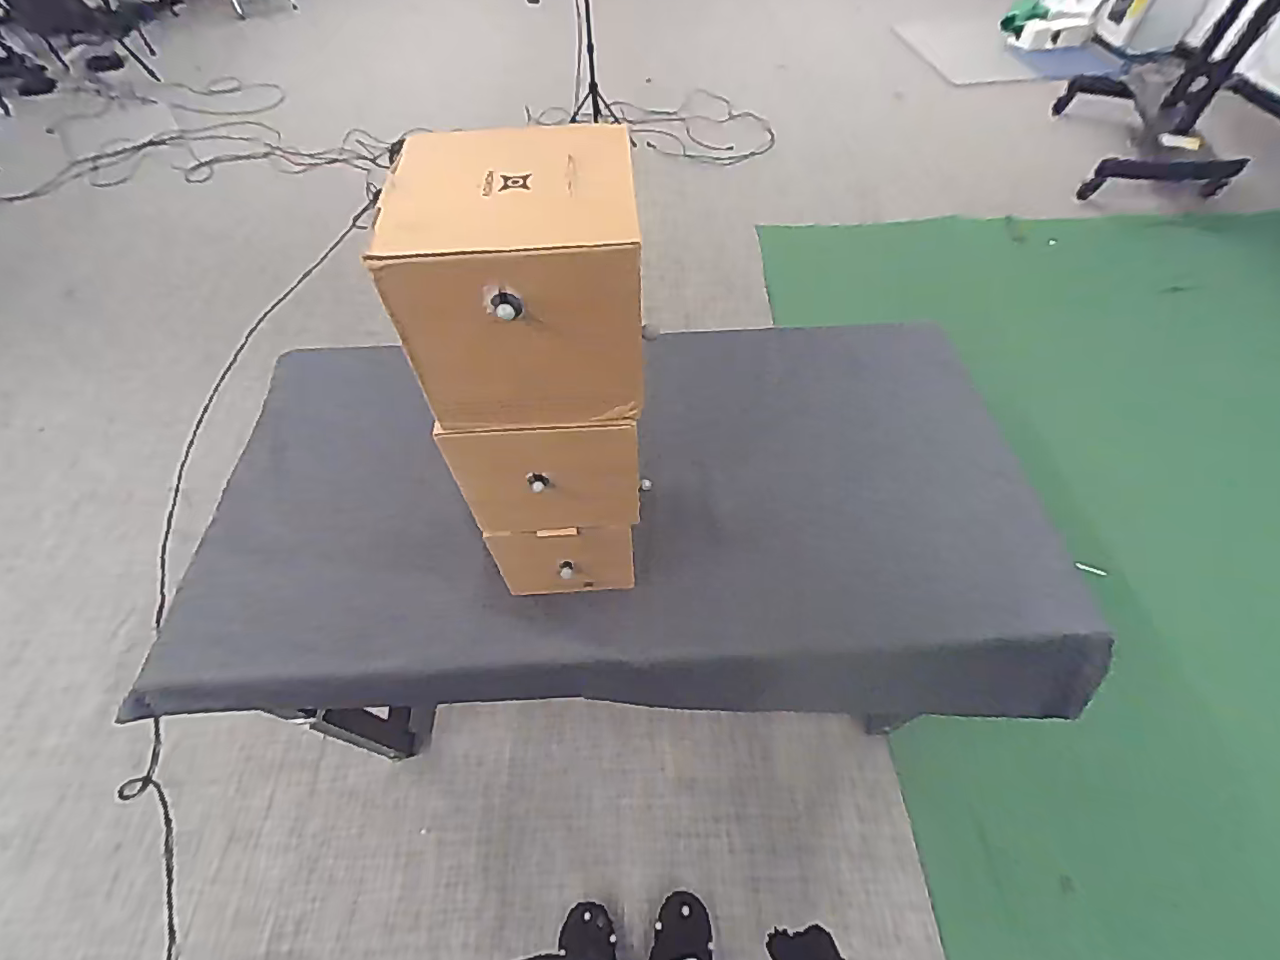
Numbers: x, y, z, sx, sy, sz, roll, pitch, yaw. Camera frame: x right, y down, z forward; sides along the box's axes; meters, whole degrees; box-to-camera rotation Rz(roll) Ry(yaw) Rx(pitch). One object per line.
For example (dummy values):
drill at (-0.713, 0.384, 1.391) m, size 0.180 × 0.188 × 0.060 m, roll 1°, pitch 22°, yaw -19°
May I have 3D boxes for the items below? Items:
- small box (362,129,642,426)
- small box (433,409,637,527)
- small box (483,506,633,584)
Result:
small box at (-0.090, -0.157, 0.444) m, size 0.179 × 0.176 × 0.168 m, roll -3°, pitch 57°, yaw -3°
small box at (-0.093, -0.061, 0.574) m, size 0.179 × 0.176 × 0.168 m, roll -3°, pitch 55°, yaw 0°
small box at (-0.097, 0.029, 0.712) m, size 0.168 × 0.176 × 0.179 m, roll -4°, pitch 56°, yaw -2°
